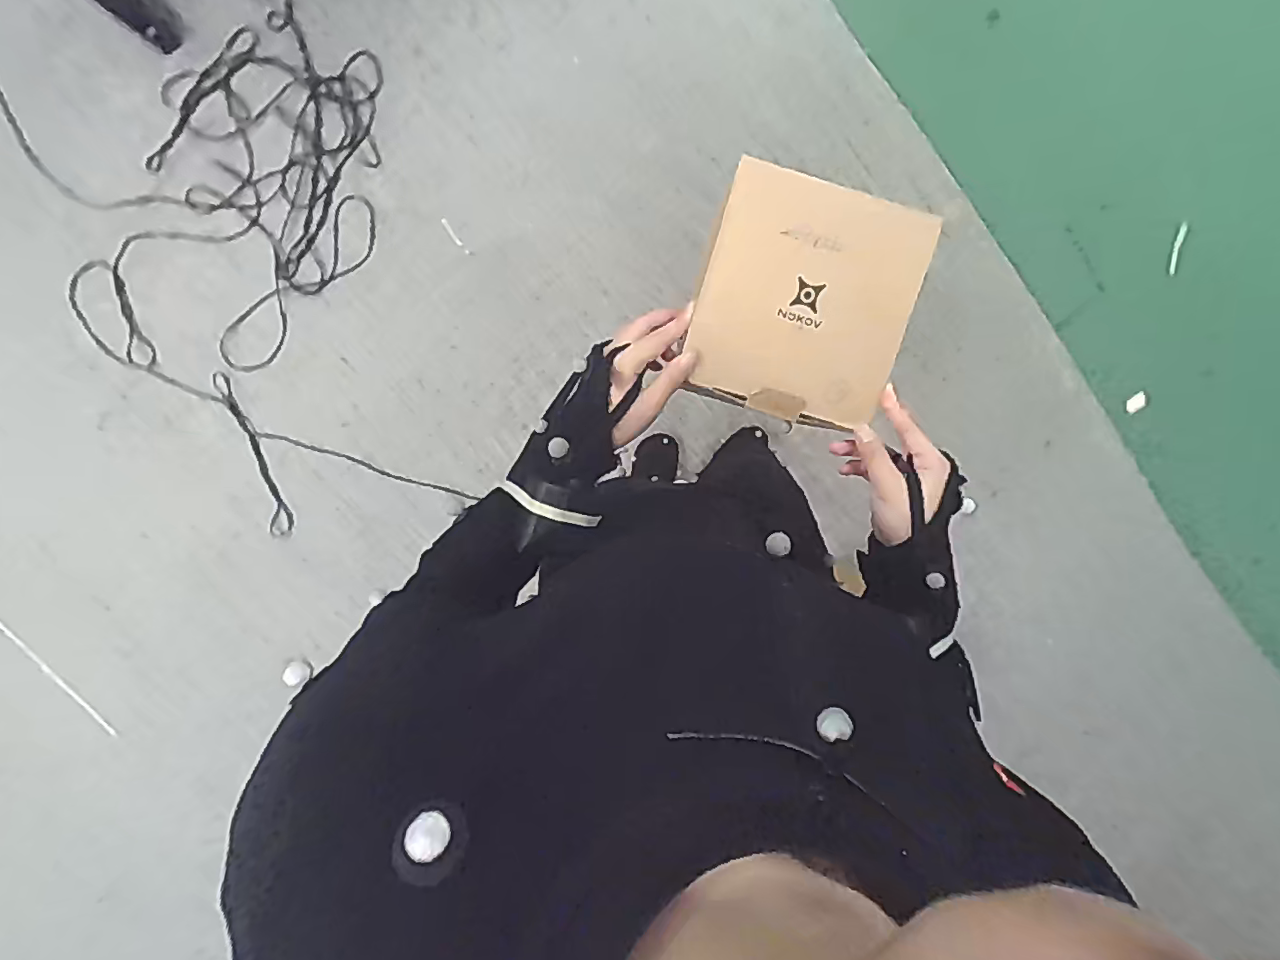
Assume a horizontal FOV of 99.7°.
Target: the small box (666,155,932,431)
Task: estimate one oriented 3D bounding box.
[{"bbox_3d":[0.124,-0.154,0.501,0.168,0.176,0.179,15,98,-3],"label":"small box"}]
